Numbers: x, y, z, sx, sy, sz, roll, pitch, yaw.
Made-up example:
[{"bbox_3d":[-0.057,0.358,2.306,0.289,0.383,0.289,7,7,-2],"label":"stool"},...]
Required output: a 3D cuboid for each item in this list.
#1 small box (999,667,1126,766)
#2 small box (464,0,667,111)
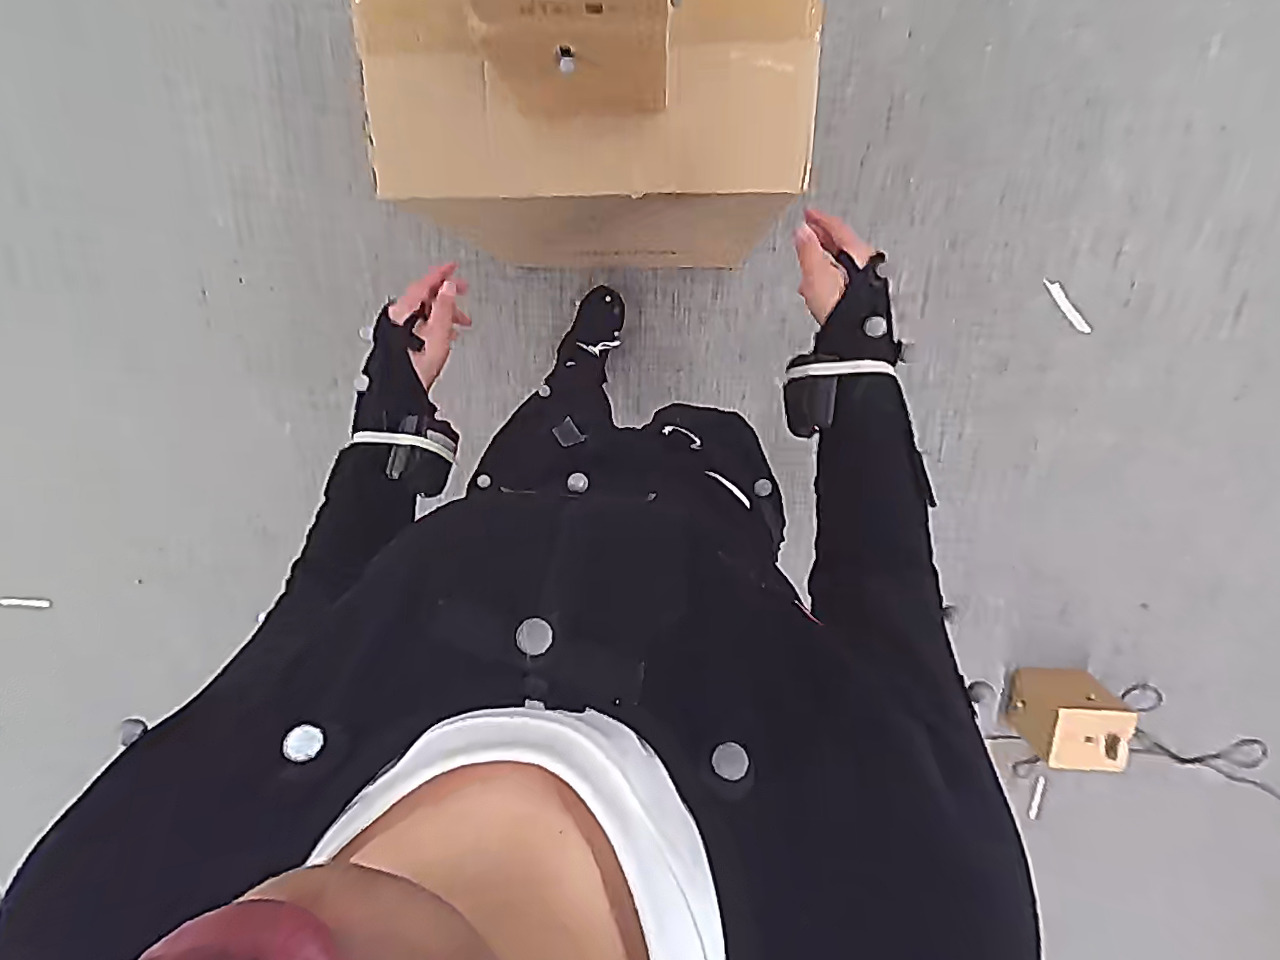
[{"bbox_3d":[1.063,0.594,1.375,0.179,0.176,0.168,1,104,3],"label":"small box"},{"bbox_3d":[-0.061,-0.483,0.523,0.179,0.176,0.168,1,104,3],"label":"small box"}]
